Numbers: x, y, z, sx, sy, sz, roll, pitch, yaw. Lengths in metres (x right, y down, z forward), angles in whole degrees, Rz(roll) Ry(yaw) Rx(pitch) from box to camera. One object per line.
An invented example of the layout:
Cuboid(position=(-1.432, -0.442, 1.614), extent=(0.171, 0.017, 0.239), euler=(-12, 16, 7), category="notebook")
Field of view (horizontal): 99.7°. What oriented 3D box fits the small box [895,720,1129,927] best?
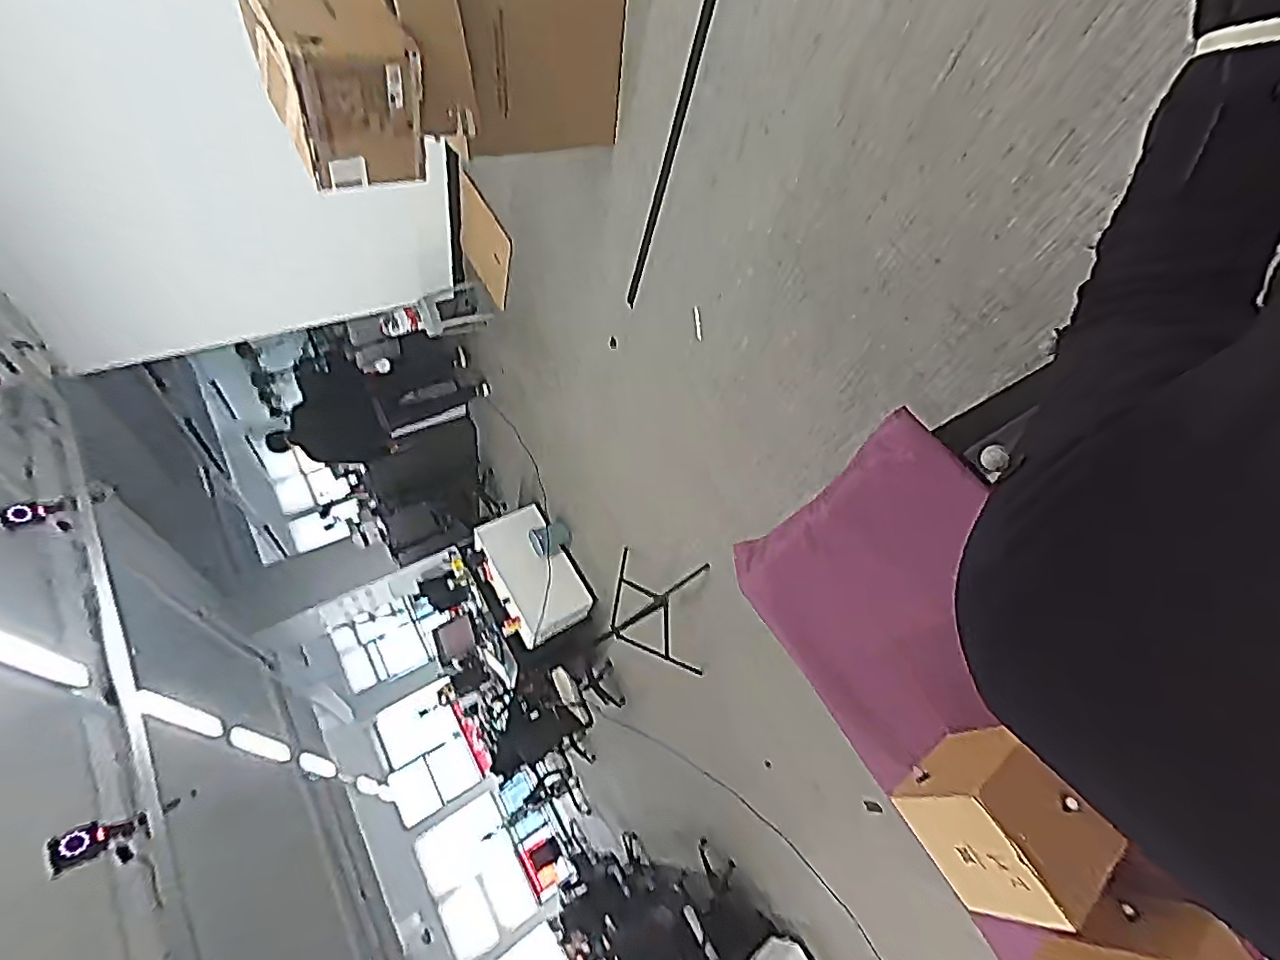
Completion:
Cuboid(position=(0.510, 0.463, 0.754), extent=(0.168, 0.176, 0.179), euler=(55, 151, 19), category="small box")
